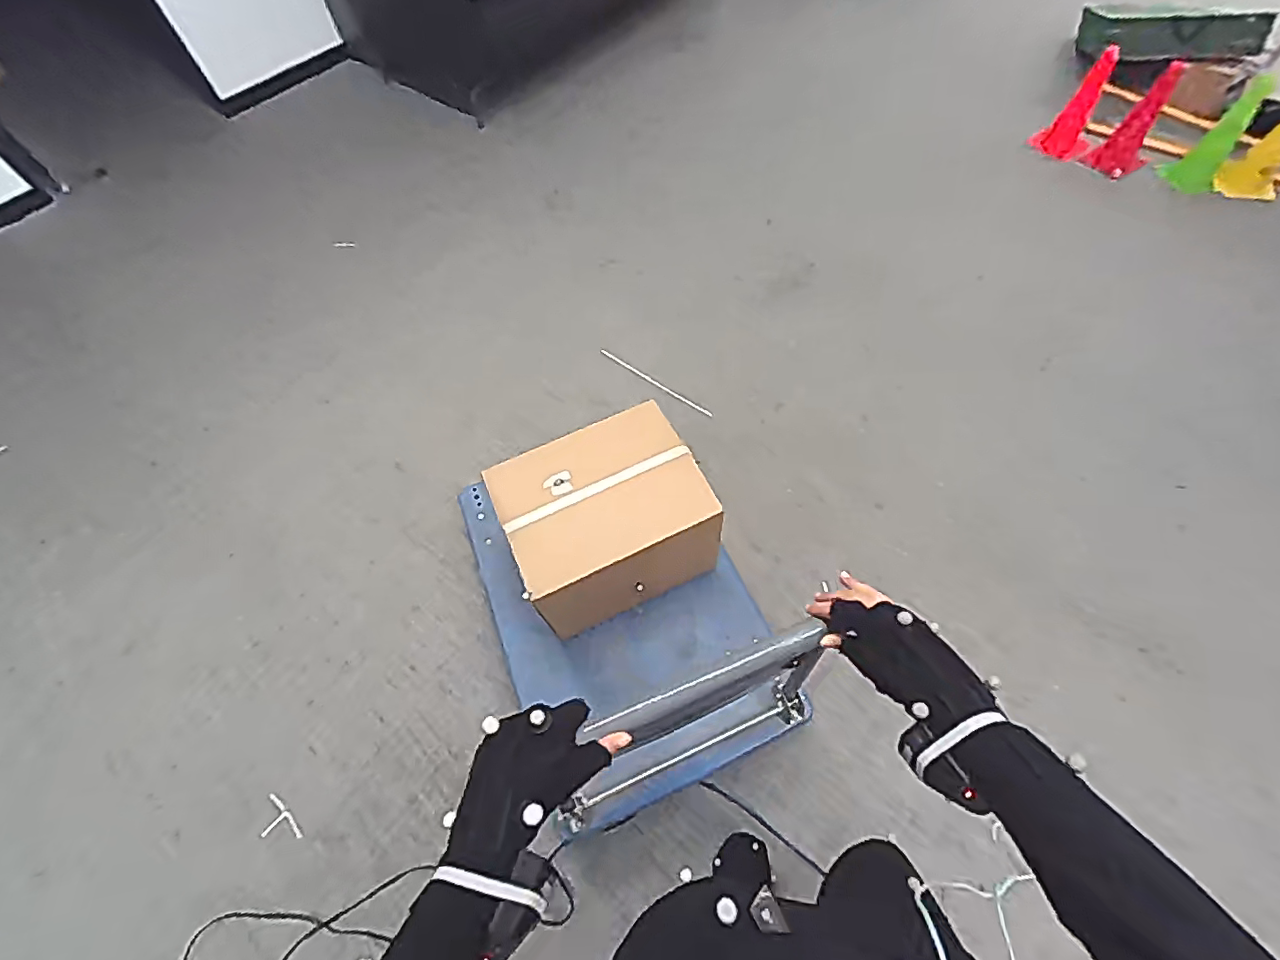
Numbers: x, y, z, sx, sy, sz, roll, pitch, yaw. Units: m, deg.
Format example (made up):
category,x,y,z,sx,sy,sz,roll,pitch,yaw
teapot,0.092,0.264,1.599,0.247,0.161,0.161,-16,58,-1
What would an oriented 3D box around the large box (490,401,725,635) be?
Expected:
category,x,y,z,sx,sy,sz,roll,pitch,yaw
large box,-0.061,0.094,1.223,0.408,0.320,0.320,-26,62,-9
